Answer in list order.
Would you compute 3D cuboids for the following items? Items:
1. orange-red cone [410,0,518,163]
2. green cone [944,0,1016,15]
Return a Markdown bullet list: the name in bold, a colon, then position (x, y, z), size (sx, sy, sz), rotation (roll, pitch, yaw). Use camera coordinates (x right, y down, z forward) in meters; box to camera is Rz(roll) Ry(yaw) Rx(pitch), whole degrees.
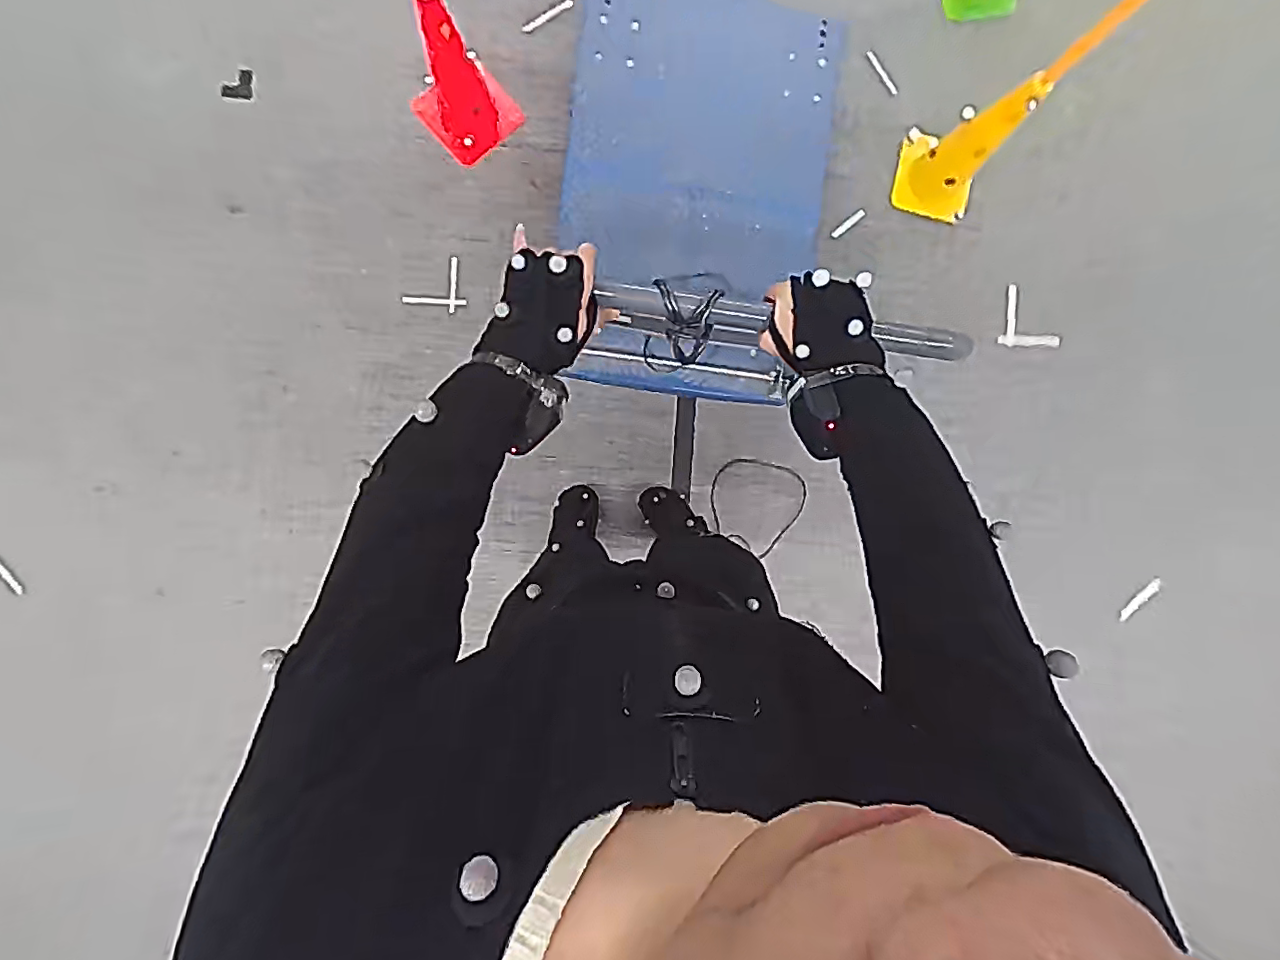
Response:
- **orange-red cone**: position (-0.402, -0.883, 1.125), size (0.199, 0.360, 0.198), rotation (-42, 95, -4)
- **green cone**: position (0.879, -1.296, 1.215), size (0.200, 0.368, 0.202), rotation (-11, 94, -4)
